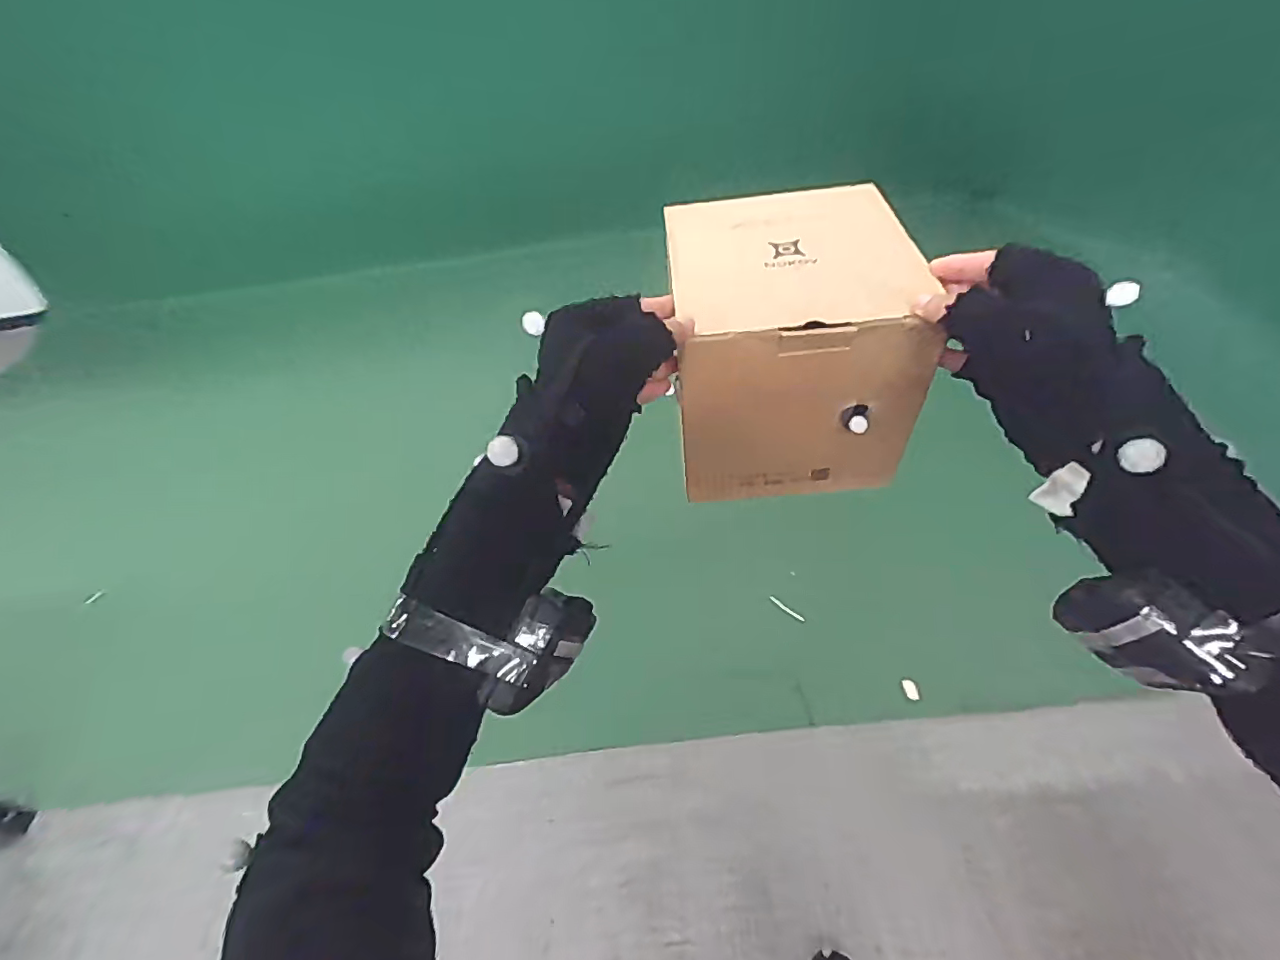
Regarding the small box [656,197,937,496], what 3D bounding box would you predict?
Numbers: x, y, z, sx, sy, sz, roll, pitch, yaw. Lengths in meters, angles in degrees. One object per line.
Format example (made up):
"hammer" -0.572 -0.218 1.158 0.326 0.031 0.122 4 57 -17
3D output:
"small box" 0.105 -0.100 0.442 0.168 0.176 0.179 -6 49 2
